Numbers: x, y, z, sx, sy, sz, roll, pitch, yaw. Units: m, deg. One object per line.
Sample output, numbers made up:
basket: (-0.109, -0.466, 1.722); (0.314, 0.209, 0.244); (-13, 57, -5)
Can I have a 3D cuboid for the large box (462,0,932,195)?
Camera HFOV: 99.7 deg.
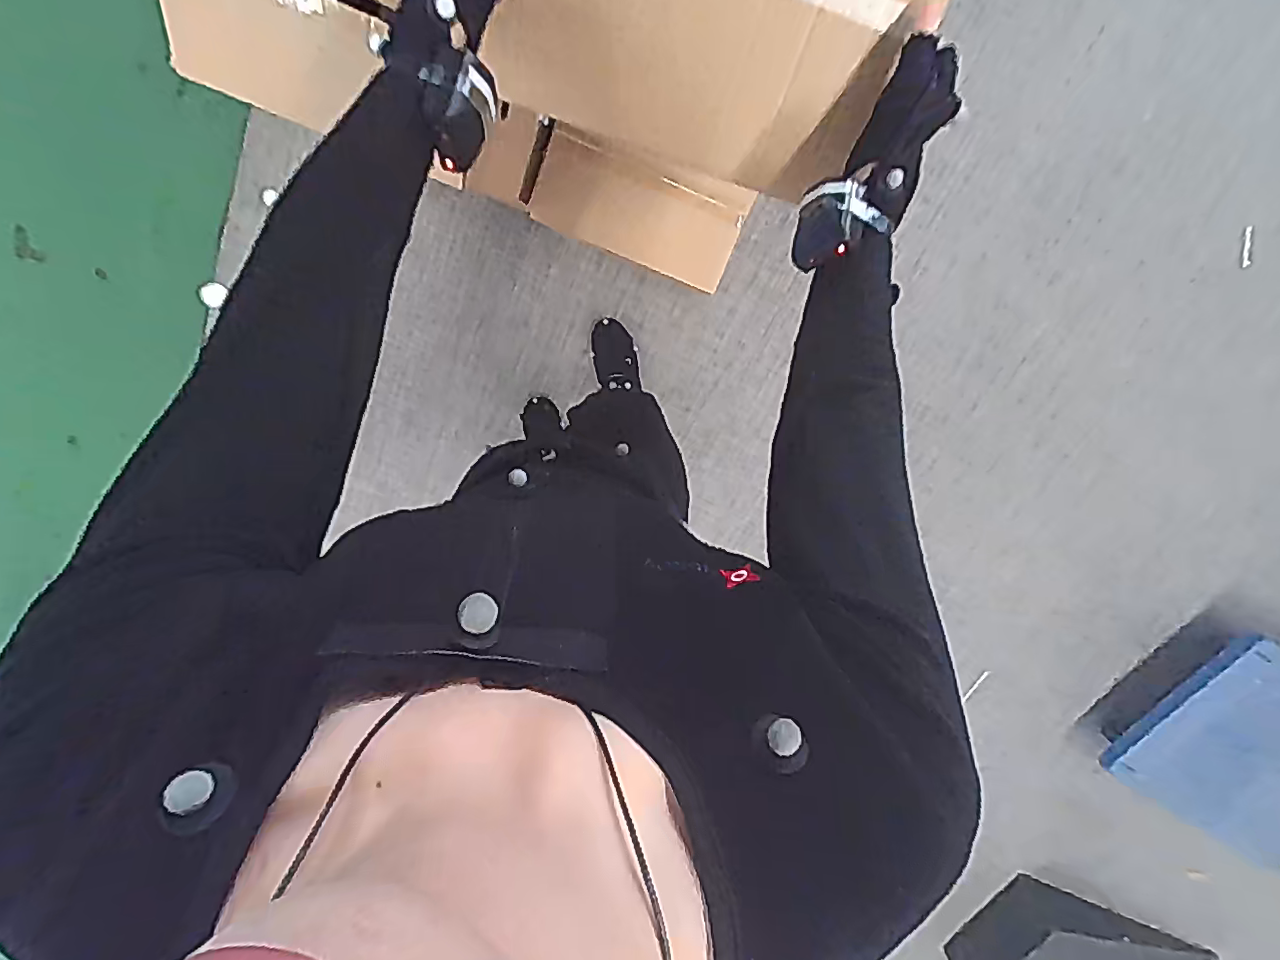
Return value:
large box: (0.076, -0.547, 0.550); (0.408, 0.320, 0.320); (17, 131, -4)
